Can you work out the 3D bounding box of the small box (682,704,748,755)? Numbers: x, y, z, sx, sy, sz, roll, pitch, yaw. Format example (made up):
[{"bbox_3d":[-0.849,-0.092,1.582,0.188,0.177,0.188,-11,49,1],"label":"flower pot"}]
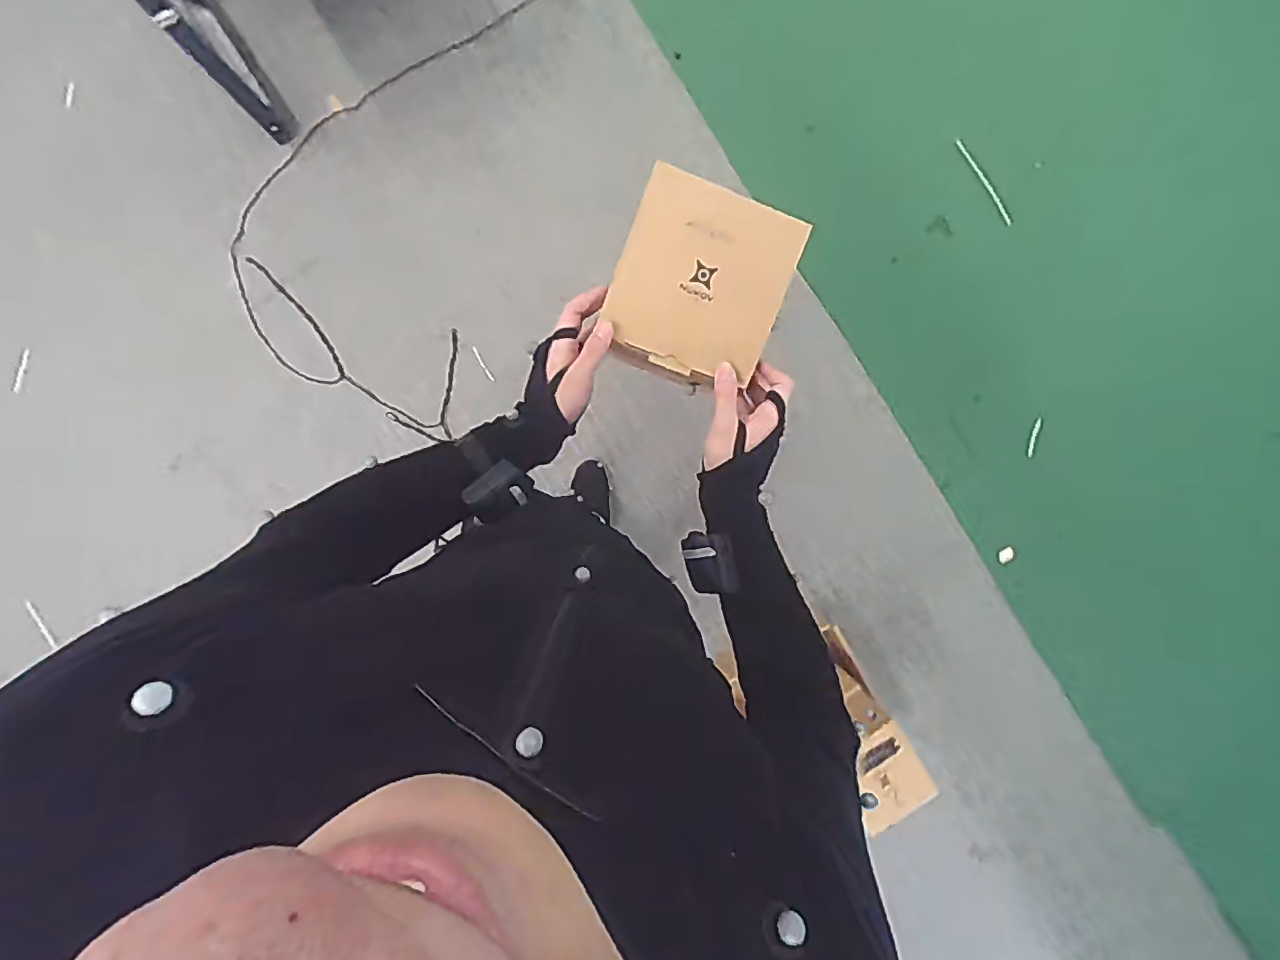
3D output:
[{"bbox_3d":[0.228,0.738,1.474,0.168,0.176,0.179,-28,88,-2],"label":"small box"}]

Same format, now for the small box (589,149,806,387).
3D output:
[{"bbox_3d":[0.053,-0.213,0.601,0.168,0.176,0.179,20,95,-5],"label":"small box"}]

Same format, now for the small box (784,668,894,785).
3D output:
[{"bbox_3d":[0.471,0.592,1.321,0.179,0.176,0.168,-31,89,0],"label":"small box"}]
